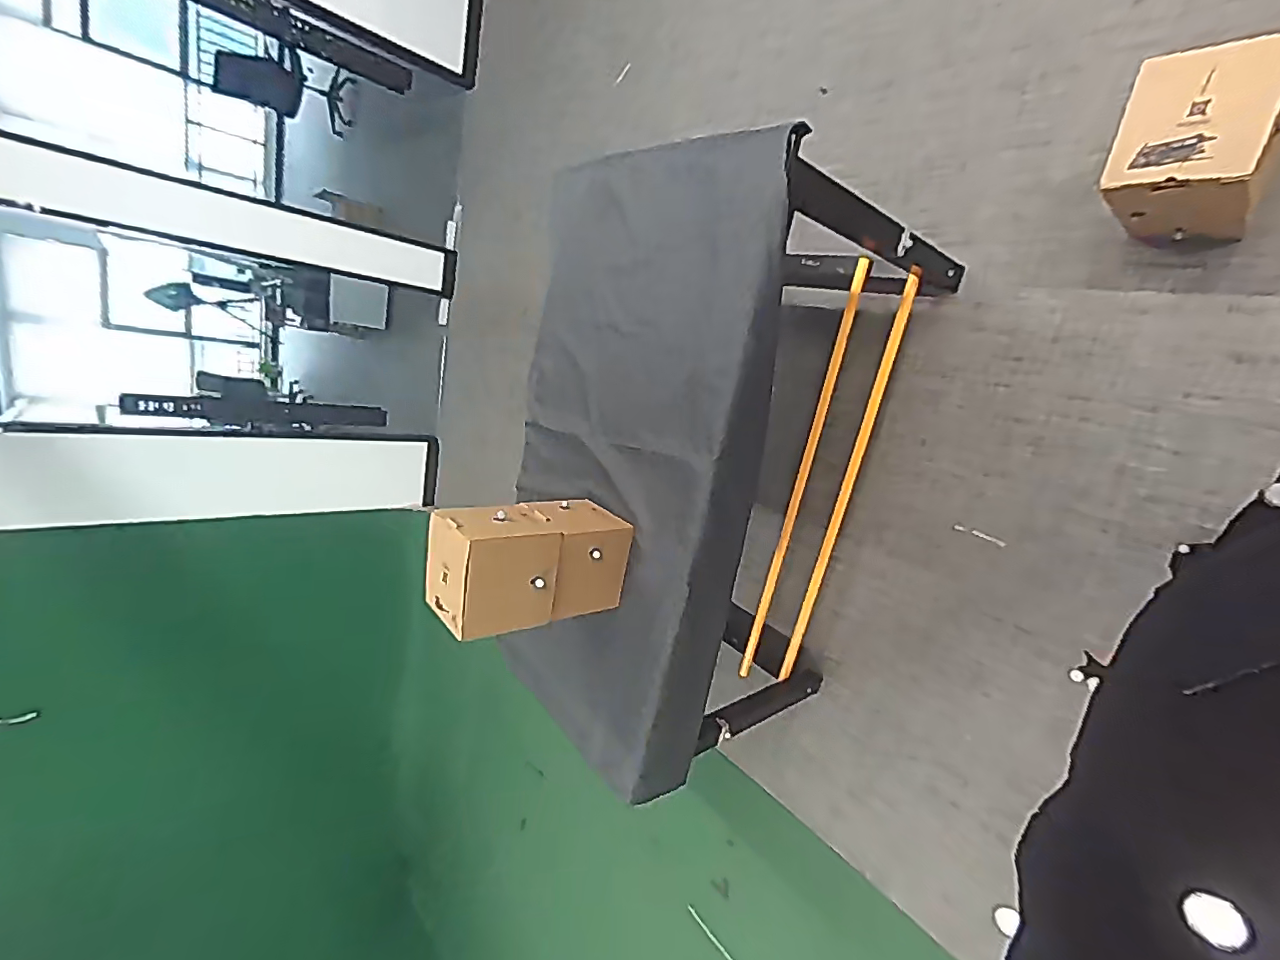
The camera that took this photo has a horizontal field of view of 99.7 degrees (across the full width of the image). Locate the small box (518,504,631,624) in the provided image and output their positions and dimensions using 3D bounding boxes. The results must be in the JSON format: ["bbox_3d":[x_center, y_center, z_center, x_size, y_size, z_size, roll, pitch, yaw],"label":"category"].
[{"bbox_3d":[-0.137,0.151,1.054,0.168,0.176,0.179,25,110,47],"label":"small box"}]

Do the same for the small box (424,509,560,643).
[{"bbox_3d":[-0.257,0.154,0.942,0.168,0.176,0.179,22,106,48],"label":"small box"}]

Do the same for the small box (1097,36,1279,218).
[{"bbox_3d":[0.827,-0.503,0.803,0.168,0.176,0.179,24,108,45],"label":"small box"}]

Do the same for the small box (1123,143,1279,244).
[{"bbox_3d":[0.949,-0.518,0.912,0.168,0.176,0.179,28,110,45],"label":"small box"}]
